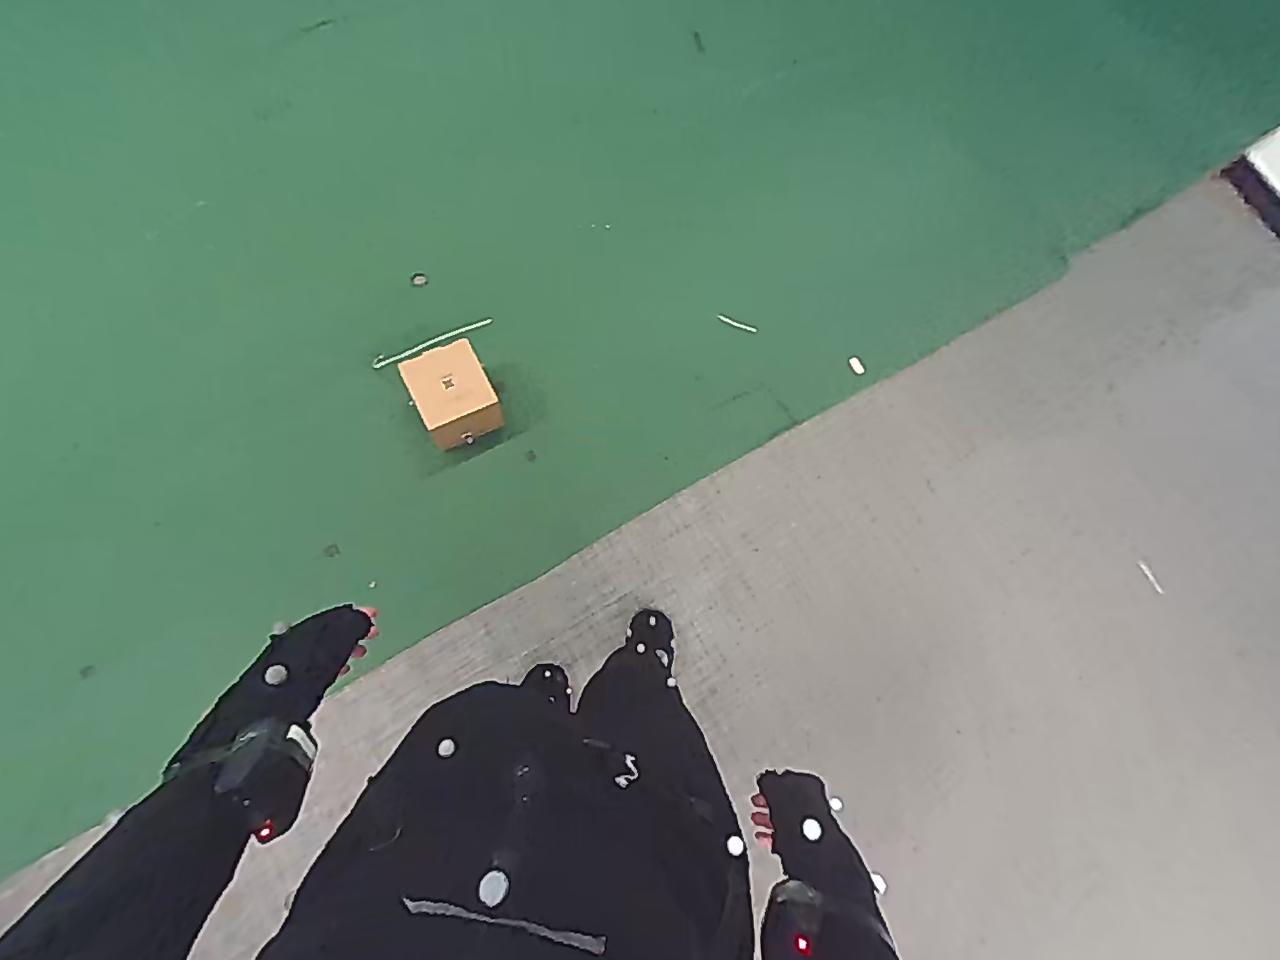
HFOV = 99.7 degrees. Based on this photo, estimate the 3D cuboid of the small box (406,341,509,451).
[{"bbox_3d":[-0.428,-0.195,1.292,0.168,0.176,0.179,-27,83,-13],"label":"small box"}]
